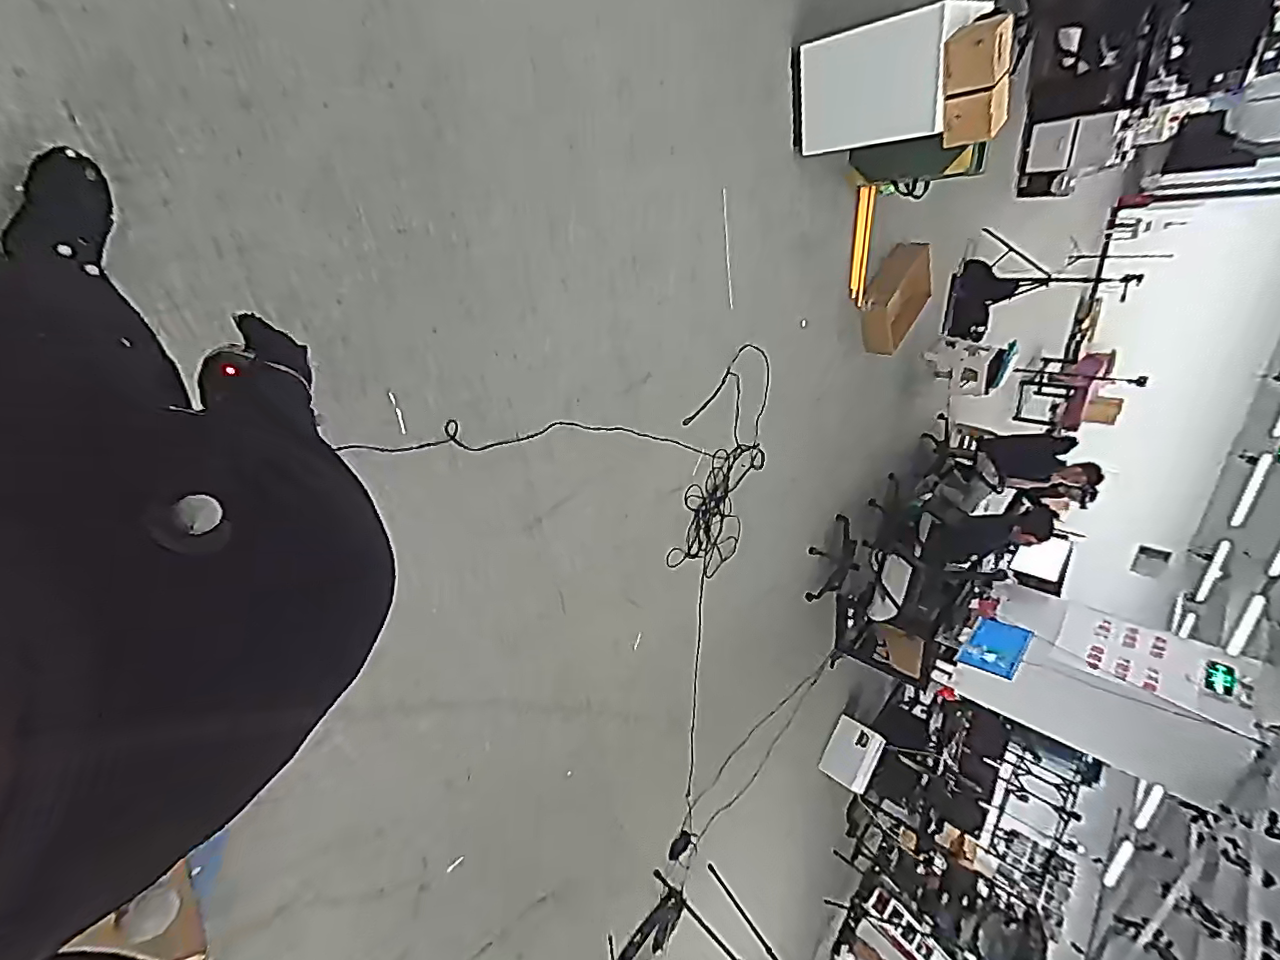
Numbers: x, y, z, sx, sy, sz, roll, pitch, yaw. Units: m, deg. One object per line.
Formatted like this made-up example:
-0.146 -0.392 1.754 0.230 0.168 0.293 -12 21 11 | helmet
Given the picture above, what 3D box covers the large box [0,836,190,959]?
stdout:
-1.086 0.908 0.921 0.408 0.320 0.320 15 94 -50 | large box
